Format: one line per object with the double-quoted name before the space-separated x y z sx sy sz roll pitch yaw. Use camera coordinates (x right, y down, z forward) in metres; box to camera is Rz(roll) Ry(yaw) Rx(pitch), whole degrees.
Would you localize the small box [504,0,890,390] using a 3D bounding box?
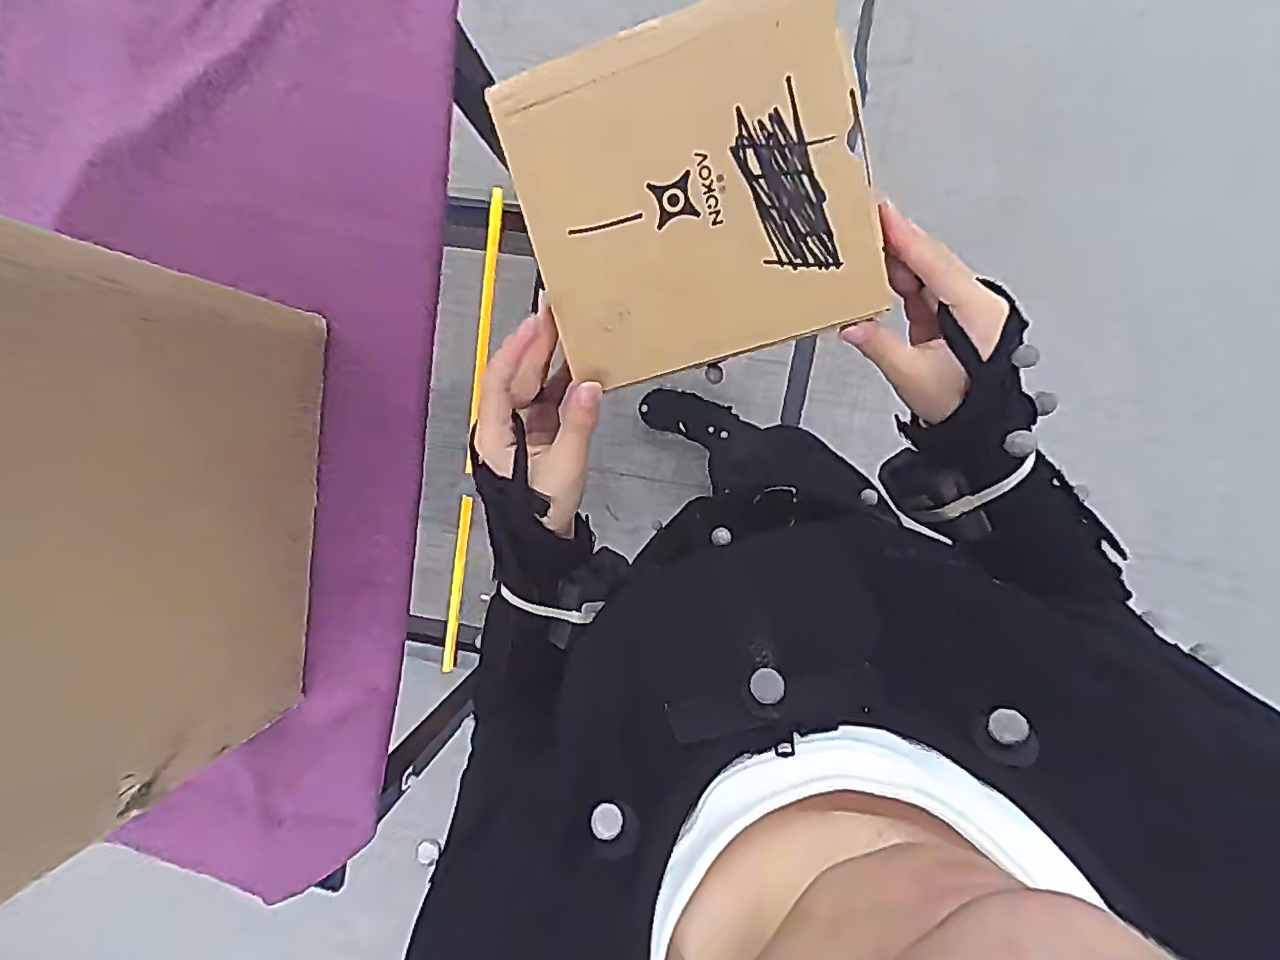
"small box" 0.038 -0.165 0.362 0.179 0.176 0.168 -14 101 9
